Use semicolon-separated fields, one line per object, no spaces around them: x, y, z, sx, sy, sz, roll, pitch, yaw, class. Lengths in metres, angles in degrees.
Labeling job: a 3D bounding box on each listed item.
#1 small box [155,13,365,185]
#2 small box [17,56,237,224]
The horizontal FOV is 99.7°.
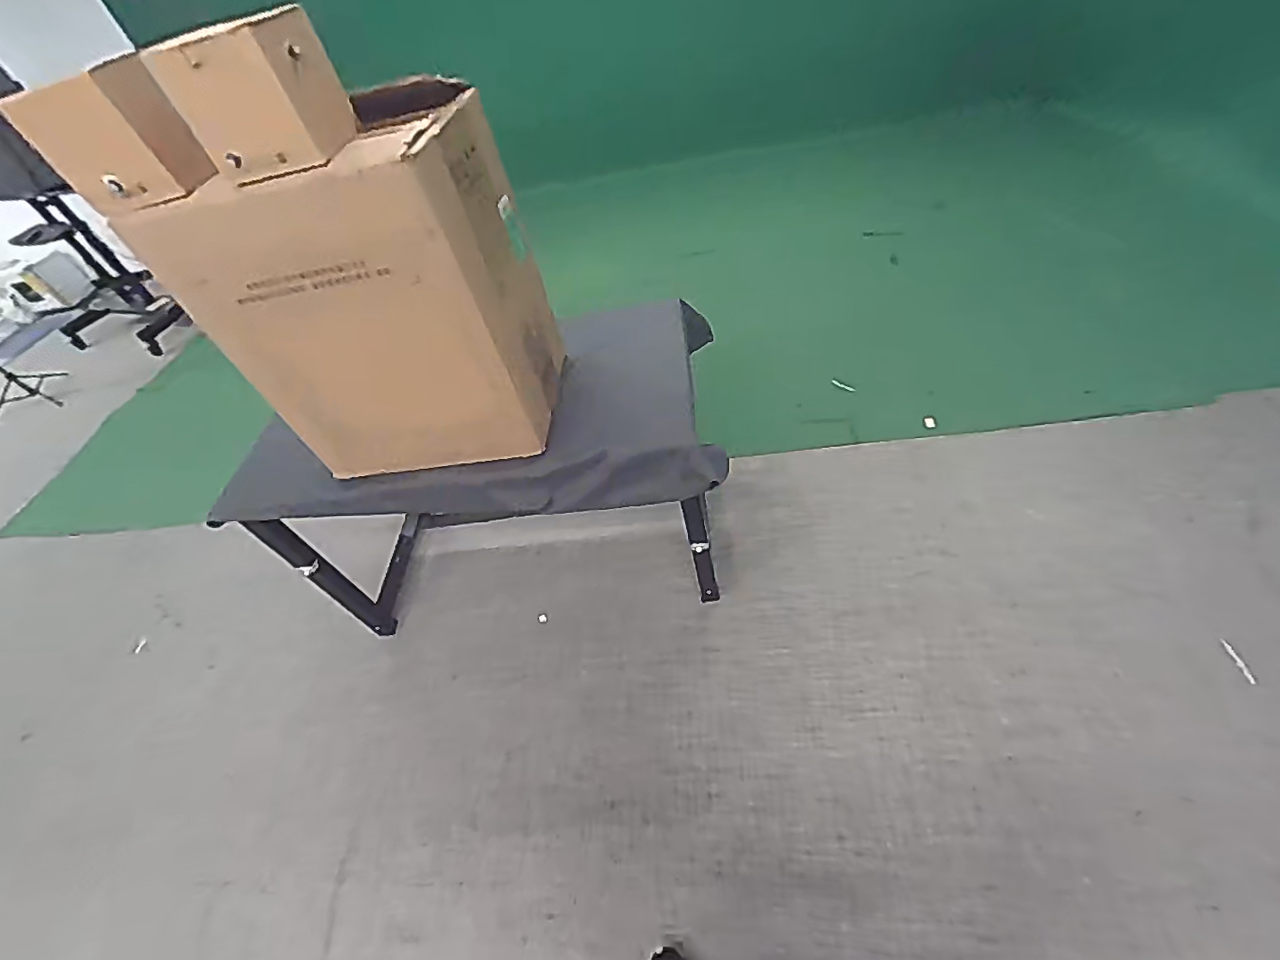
-0.559;-0.575;0.828;0.168;0.176;0.179;-8;47;8;small box
-0.800;-0.547;0.877;0.168;0.176;0.179;-10;49;10;small box
